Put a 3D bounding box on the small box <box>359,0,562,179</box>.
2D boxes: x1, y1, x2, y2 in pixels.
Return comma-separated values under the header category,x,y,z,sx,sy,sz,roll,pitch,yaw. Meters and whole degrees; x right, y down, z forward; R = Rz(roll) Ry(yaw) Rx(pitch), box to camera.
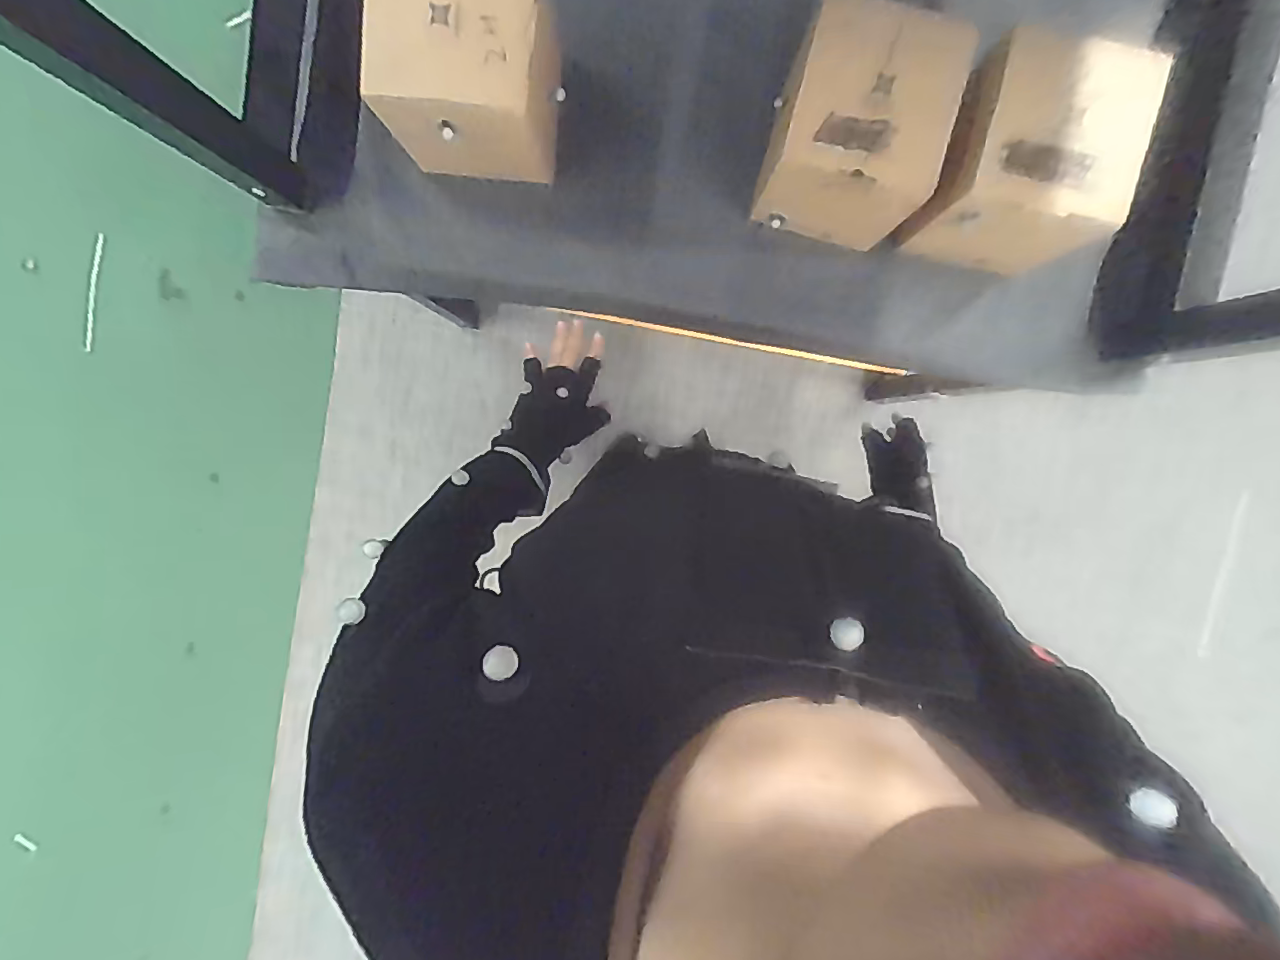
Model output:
category,x,y,z,sx,sy,sz,roll,pitch,yaw
small box,-0.196,-0.476,0.630,0.179,0.176,0.168,6,95,-1
